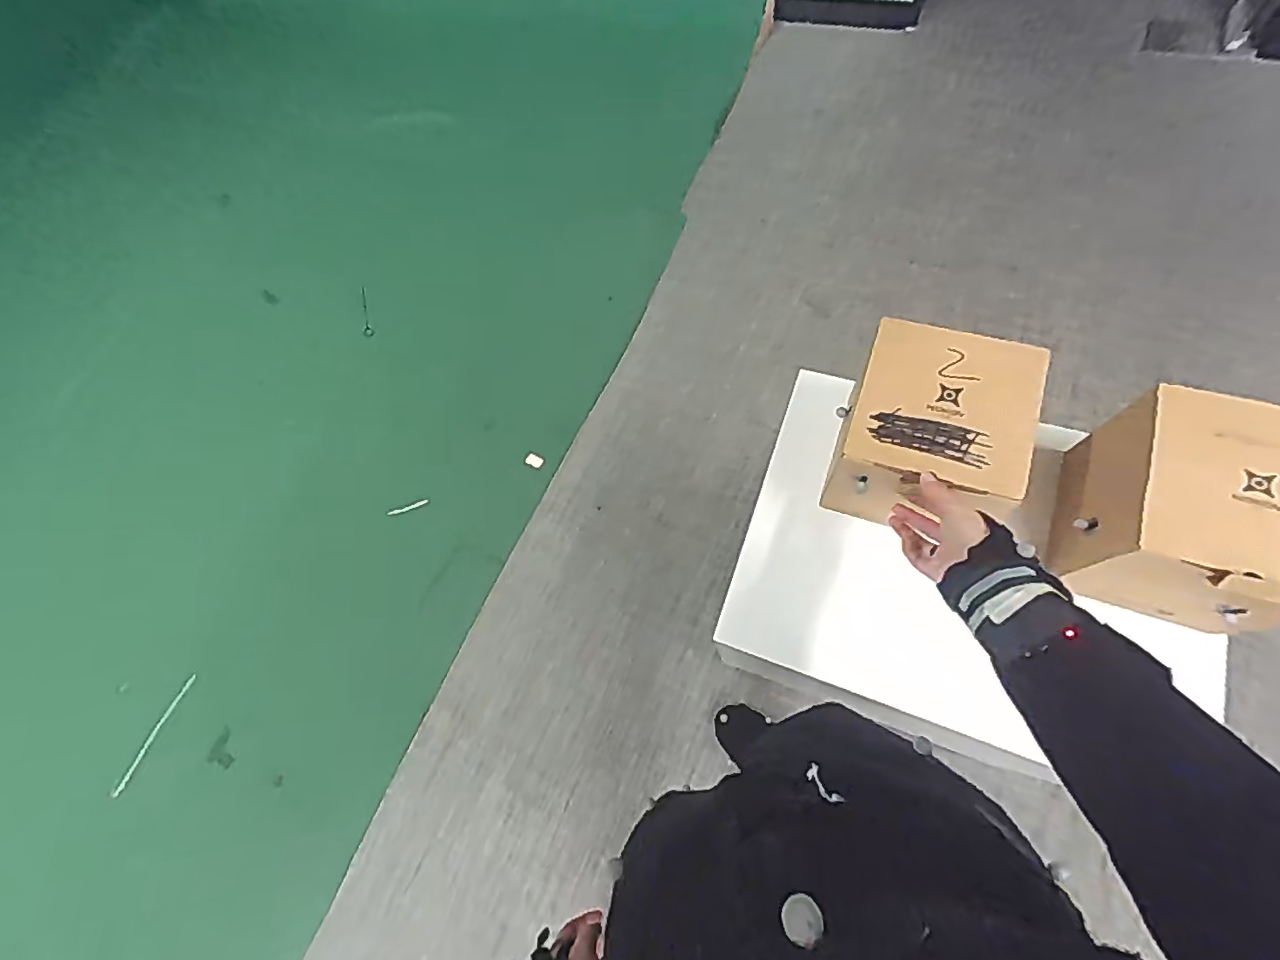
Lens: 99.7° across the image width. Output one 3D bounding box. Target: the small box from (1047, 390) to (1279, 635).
[{"bbox_3d":[0.548,0.042,0.542,0.168,0.176,0.179,17,72,15],"label":"small box"}]
